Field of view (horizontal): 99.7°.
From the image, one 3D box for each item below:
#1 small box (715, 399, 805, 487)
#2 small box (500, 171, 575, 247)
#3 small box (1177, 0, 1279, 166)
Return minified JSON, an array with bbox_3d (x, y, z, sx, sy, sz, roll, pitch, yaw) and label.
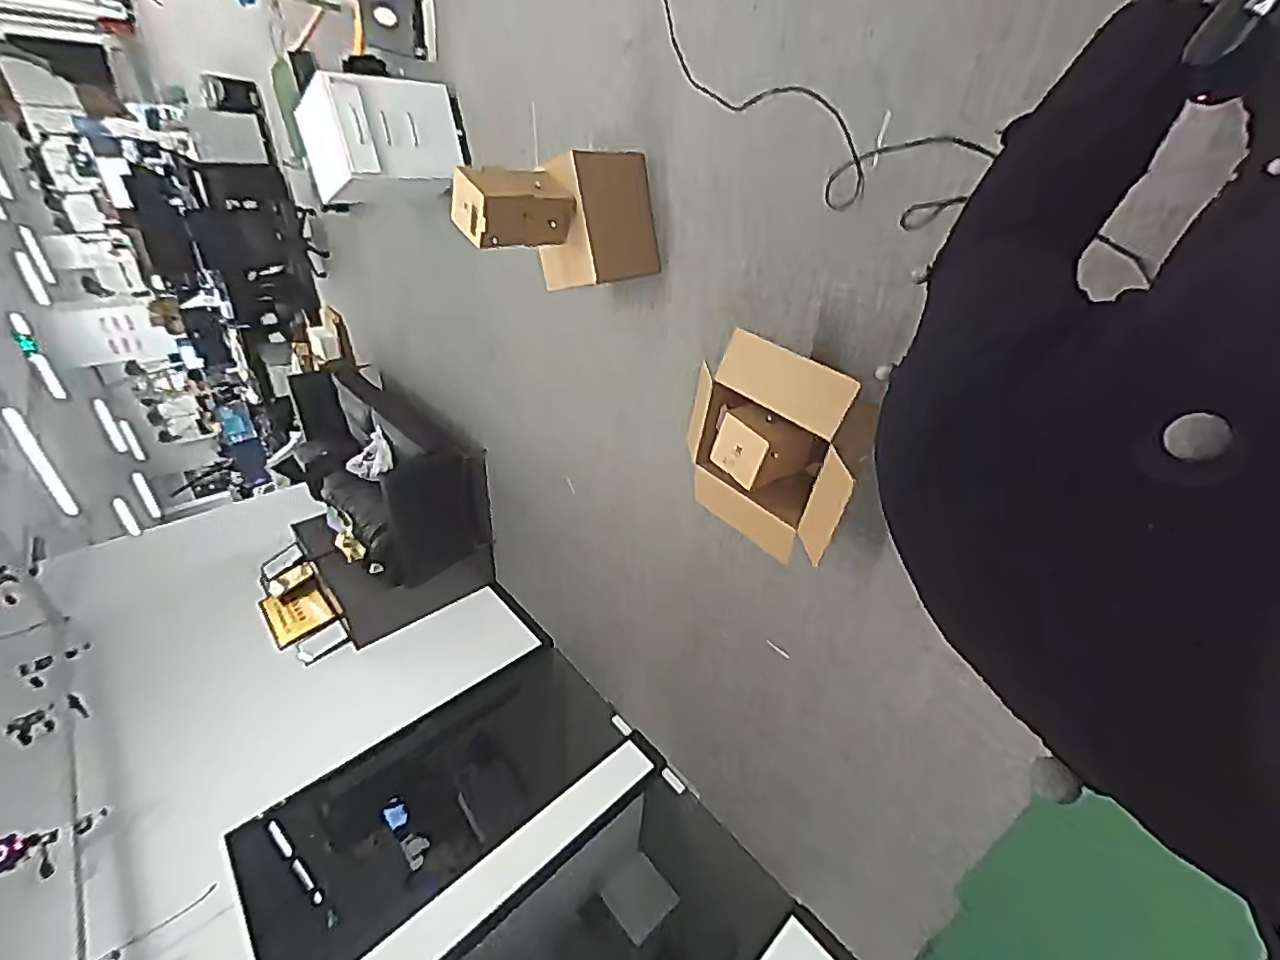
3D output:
[{"bbox_3d":[0.352,-0.115,1.573,0.168,0.176,0.179,44,139,32],"label":"small box"},{"bbox_3d":[-0.338,-0.901,1.786,0.179,0.176,0.168,48,140,20],"label":"small box"},{"bbox_3d":[0.976,-0.586,0.785,0.176,0.168,0.179,26,121,-6],"label":"small box"}]
